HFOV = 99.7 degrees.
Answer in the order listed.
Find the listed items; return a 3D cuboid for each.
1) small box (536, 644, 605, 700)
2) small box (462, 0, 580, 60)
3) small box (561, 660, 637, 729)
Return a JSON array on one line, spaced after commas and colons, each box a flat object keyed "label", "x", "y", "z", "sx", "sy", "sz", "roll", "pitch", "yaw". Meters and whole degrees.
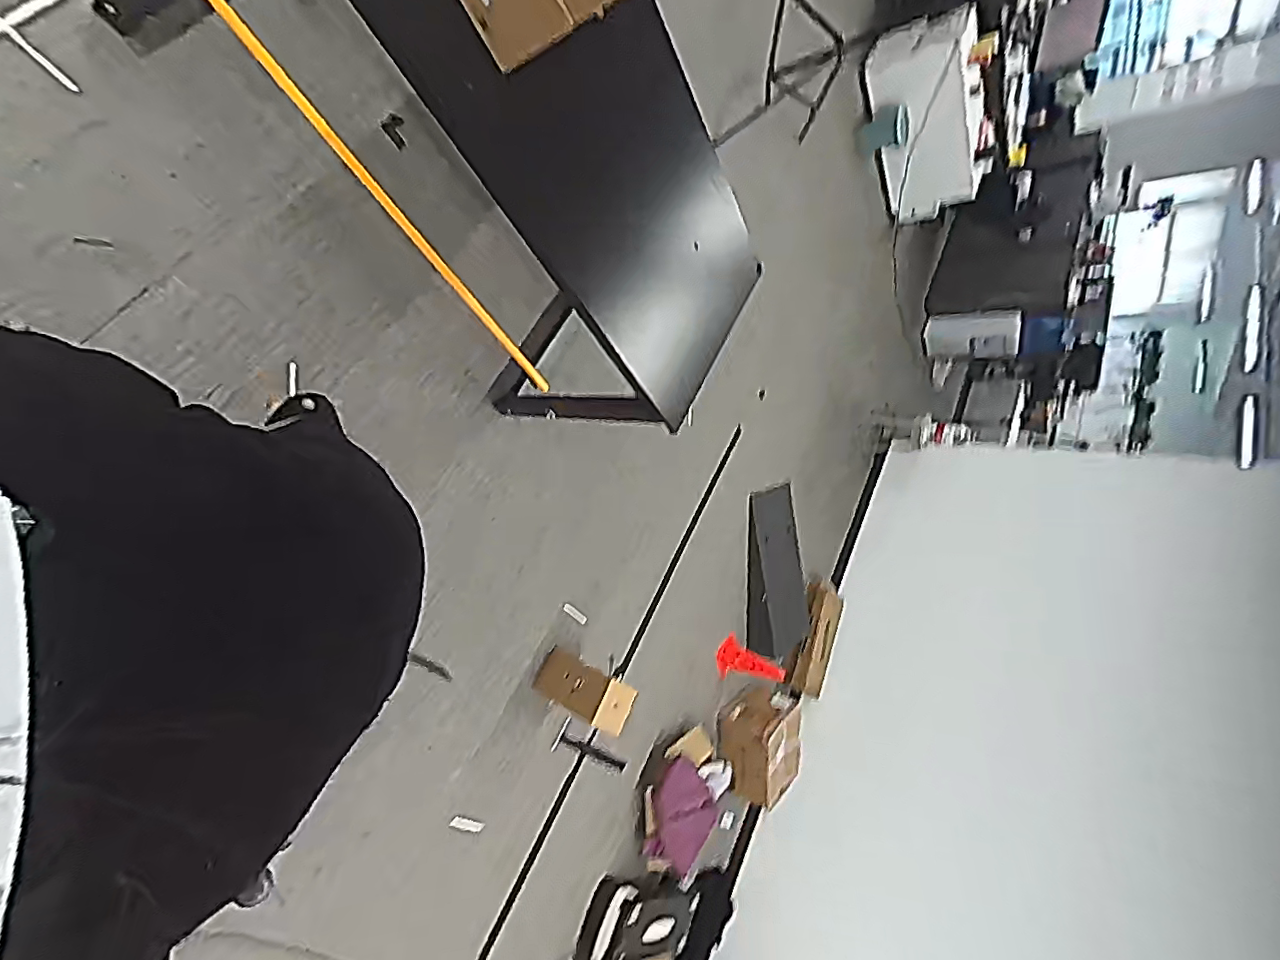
[{"label": "small box", "x": -0.267, "y": 0.752, "z": 2.064, "sx": 0.168, "sy": 0.176, "sz": 0.179, "roll": 48, "pitch": 62, "yaw": -42}, {"label": "small box", "x": -0.164, "y": -0.770, "z": 0.791, "sx": 0.168, "sy": 0.176, "sz": 0.179, "roll": 51, "pitch": 59, "yaw": -41}, {"label": "small box", "x": -0.148, "y": 0.773, "z": 1.955, "sx": 0.179, "sy": 0.176, "sz": 0.168, "roll": 44, "pitch": 62, "yaw": -42}]
